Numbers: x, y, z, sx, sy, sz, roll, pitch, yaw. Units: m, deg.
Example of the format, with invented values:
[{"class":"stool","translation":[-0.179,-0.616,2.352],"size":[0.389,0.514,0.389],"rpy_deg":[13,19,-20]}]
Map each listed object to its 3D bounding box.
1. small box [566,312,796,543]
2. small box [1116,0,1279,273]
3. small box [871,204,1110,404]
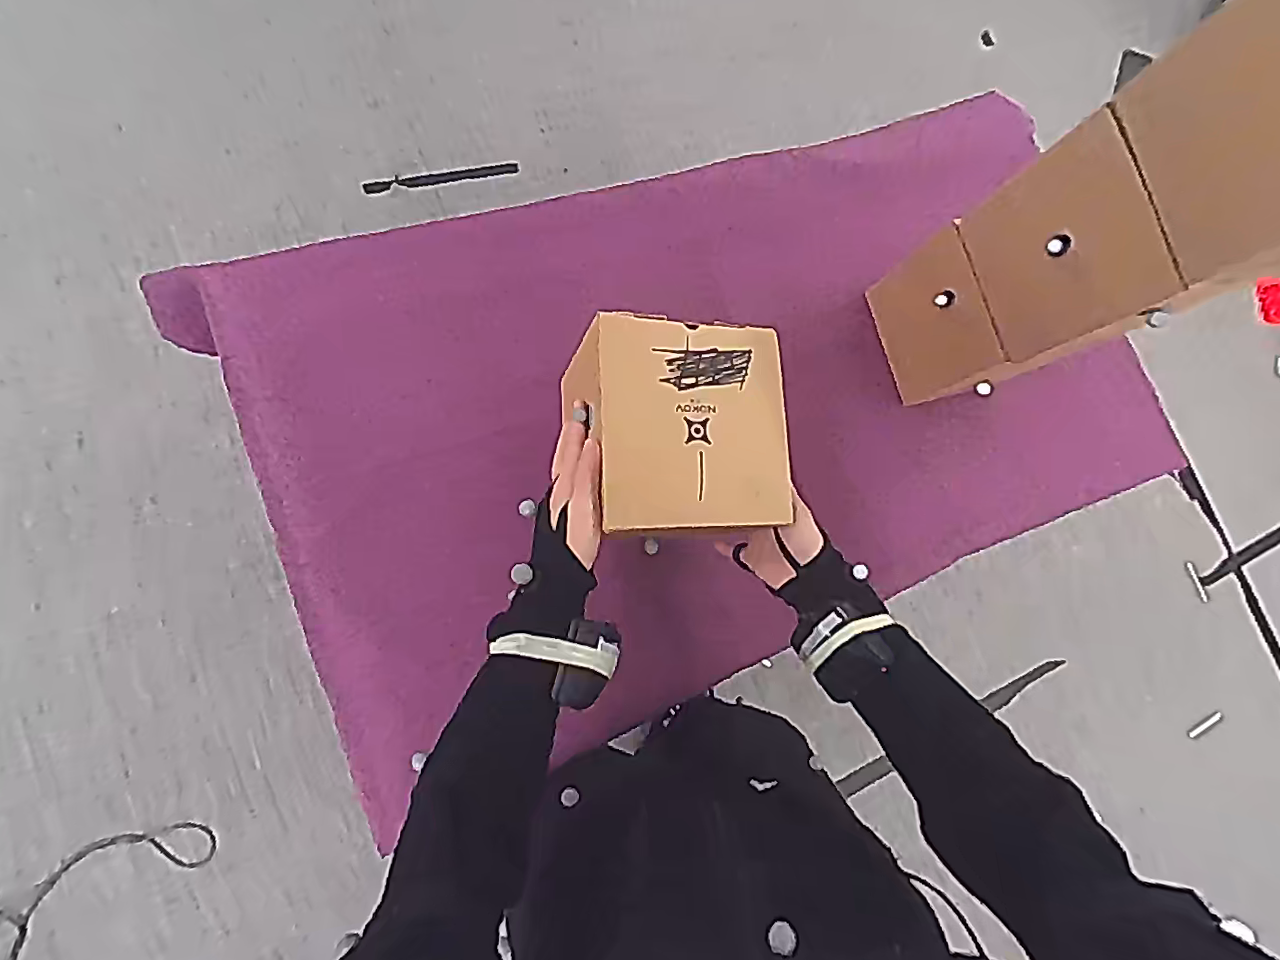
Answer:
[{"class":"small box","translation":[0.025,-0.034,0.512],"size":[0.168,0.176,0.179],"rpy_deg":[1,81,-18]},{"class":"small box","translation":[0.502,-0.265,0.380],"size":[0.168,0.176,0.179],"rpy_deg":[-13,82,-16]},{"class":"small box","translation":[0.432,-0.217,0.696],"size":[0.168,0.176,0.179],"rpy_deg":[-14,84,-14]}]
